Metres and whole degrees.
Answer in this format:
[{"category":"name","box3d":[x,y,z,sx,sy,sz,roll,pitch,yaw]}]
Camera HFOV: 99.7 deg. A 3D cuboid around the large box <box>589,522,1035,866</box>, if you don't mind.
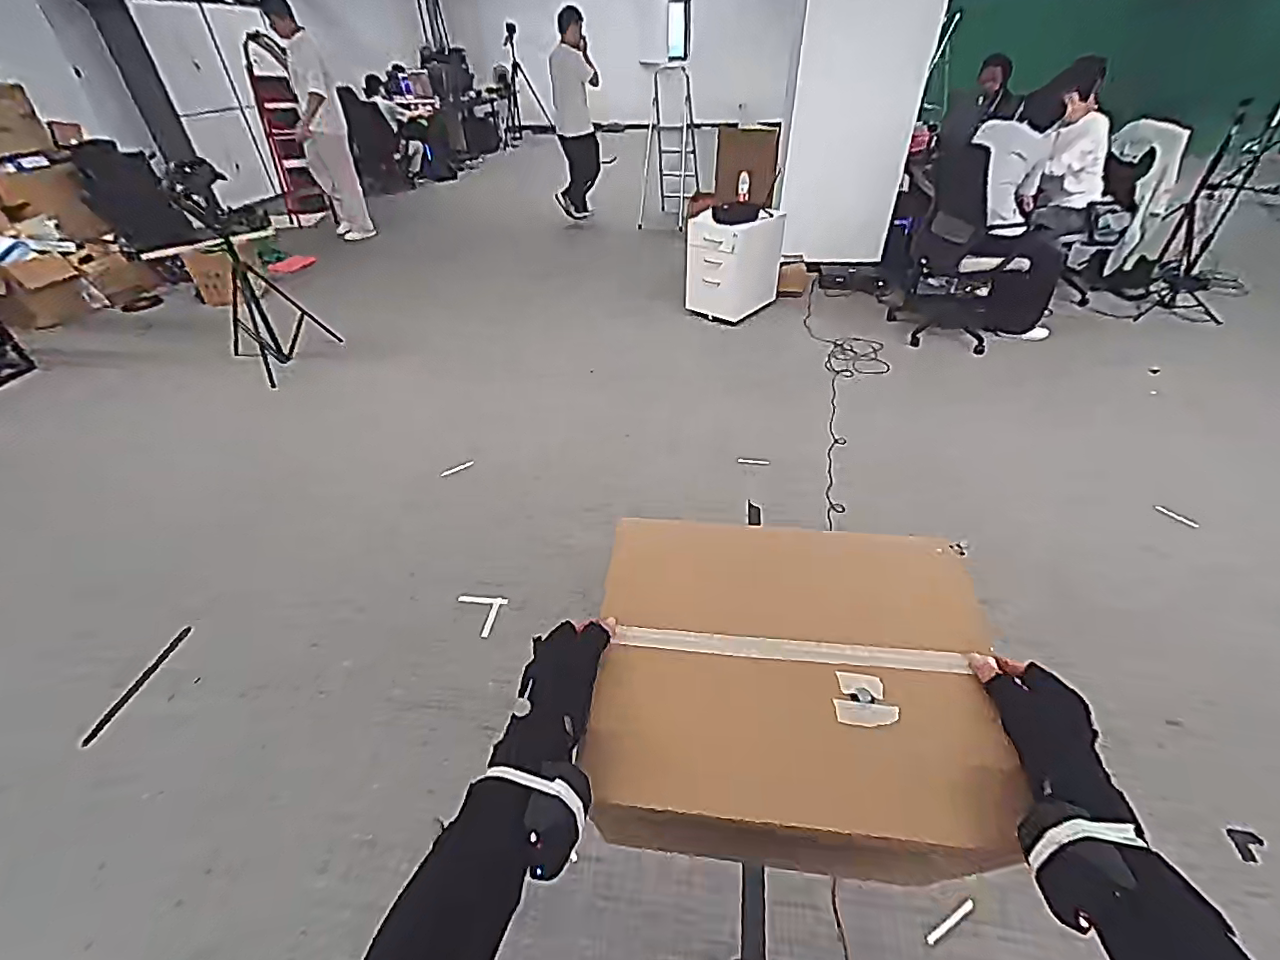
[{"category":"large box","box3d":[0.166,0.274,0.693,0.408,0.320,0.320,3,51,6]}]
